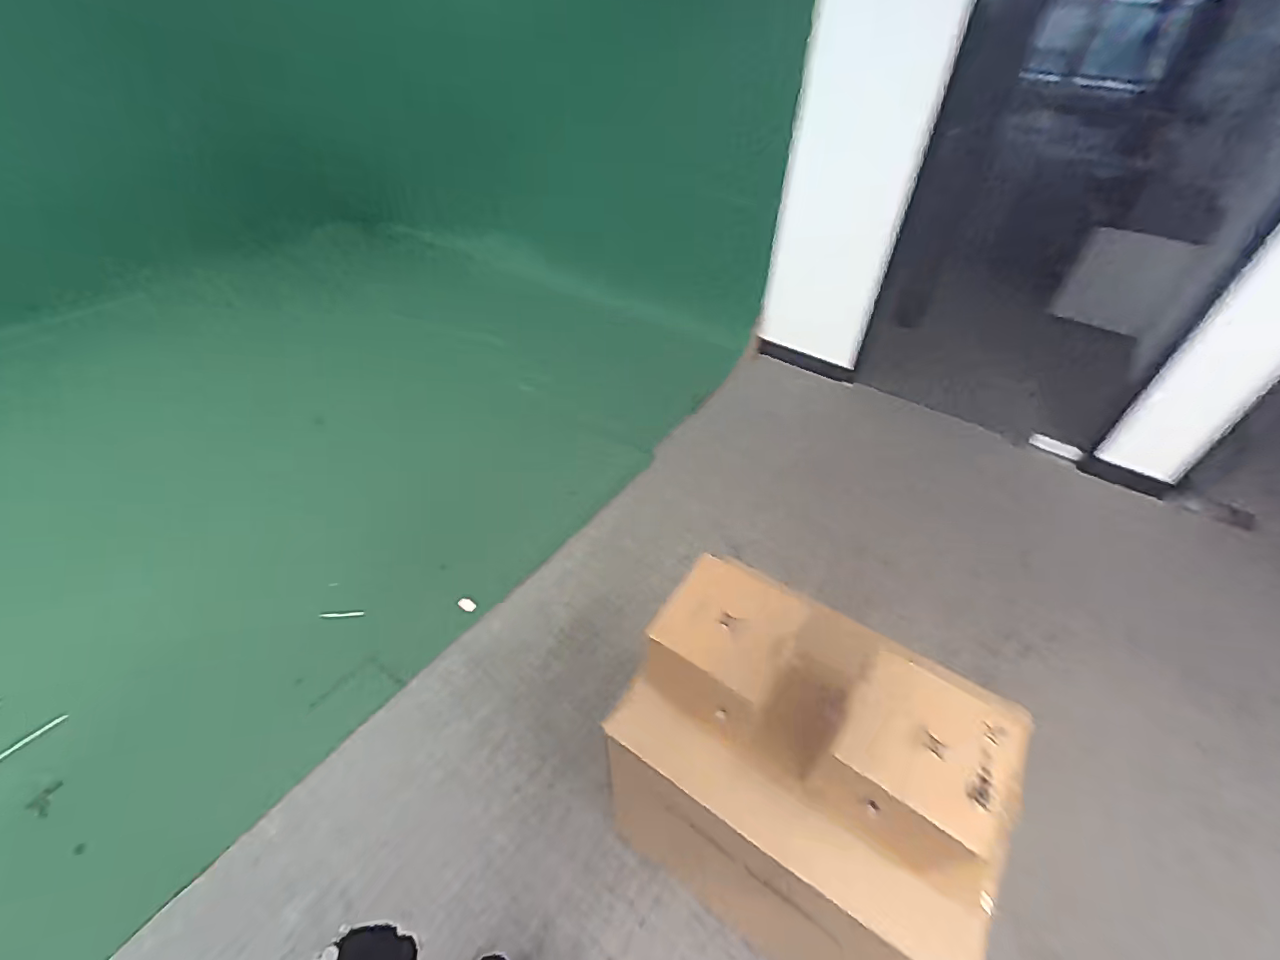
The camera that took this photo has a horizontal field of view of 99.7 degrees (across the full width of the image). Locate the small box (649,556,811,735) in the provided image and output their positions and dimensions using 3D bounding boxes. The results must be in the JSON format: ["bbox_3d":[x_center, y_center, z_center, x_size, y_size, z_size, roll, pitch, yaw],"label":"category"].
[{"bbox_3d":[0.131,0.254,0.815,0.179,0.176,0.168,25,53,24],"label":"small box"}]

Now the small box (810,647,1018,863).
[{"bbox_3d":[0.344,0.361,0.708,0.179,0.176,0.168,28,55,25],"label":"small box"}]
